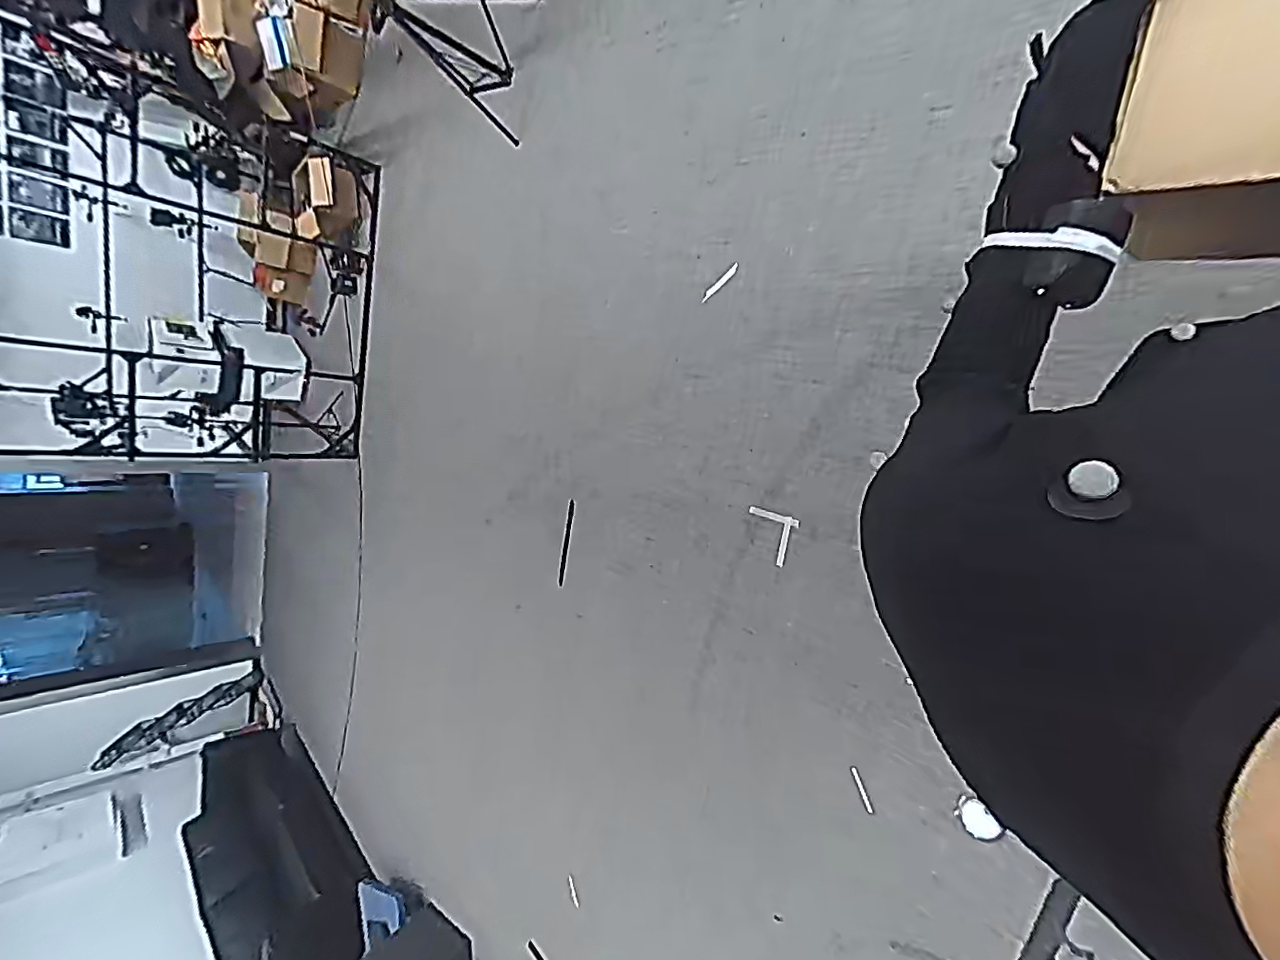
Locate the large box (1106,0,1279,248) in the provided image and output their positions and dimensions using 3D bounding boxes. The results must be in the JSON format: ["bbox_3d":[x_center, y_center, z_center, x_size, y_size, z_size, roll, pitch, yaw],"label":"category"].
[{"bbox_3d":[0.601,-0.348,0.343,0.408,0.320,0.320,18,111,41],"label":"large box"}]
